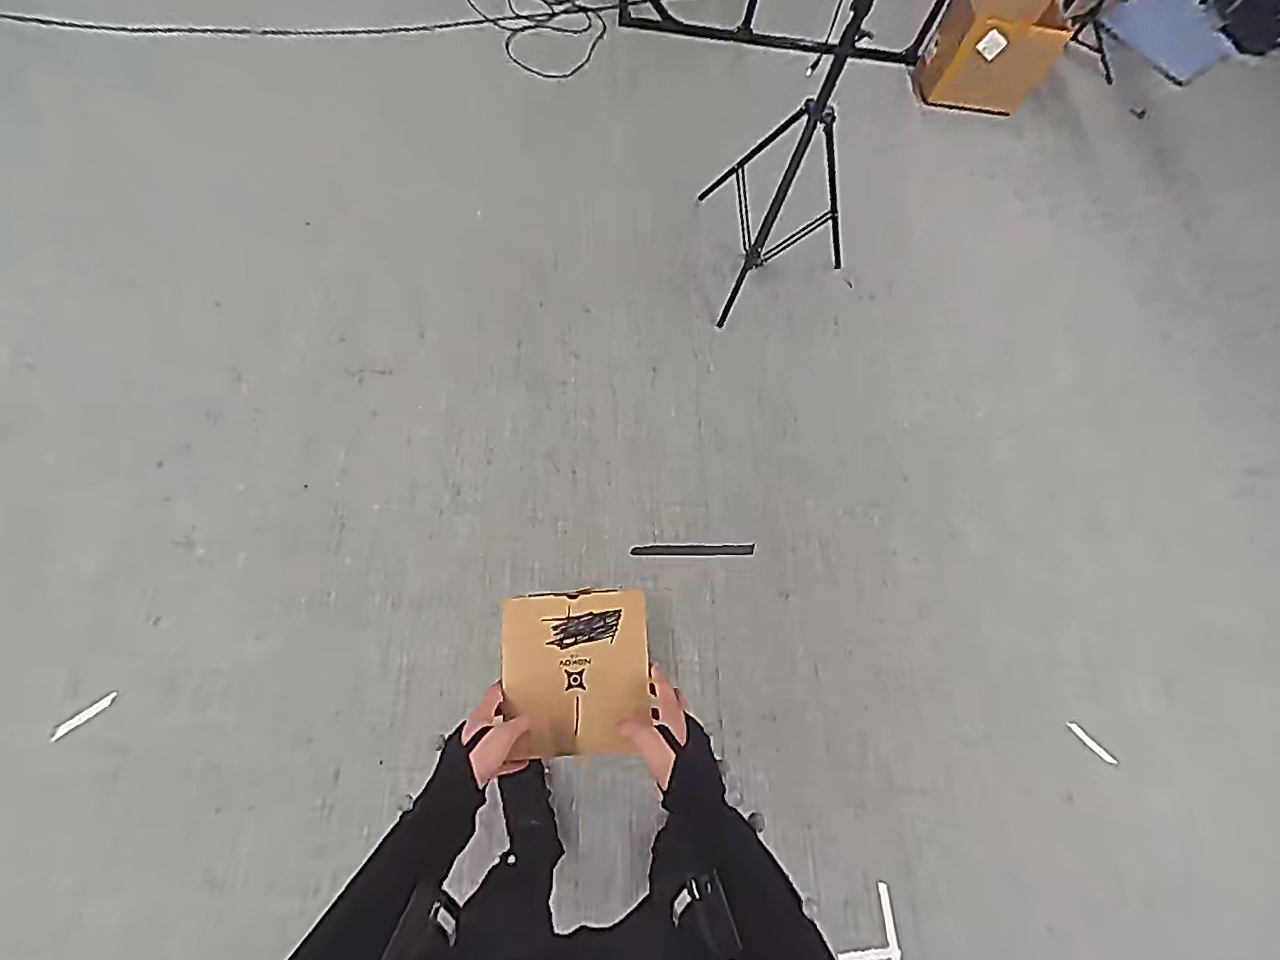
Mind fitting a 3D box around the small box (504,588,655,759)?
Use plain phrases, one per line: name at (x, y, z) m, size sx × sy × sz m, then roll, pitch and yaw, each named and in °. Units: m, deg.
small box at (-0.071, 0.231, 0.681) m, size 0.168 × 0.176 × 0.179 m, roll -3°, pitch 78°, yaw -2°
